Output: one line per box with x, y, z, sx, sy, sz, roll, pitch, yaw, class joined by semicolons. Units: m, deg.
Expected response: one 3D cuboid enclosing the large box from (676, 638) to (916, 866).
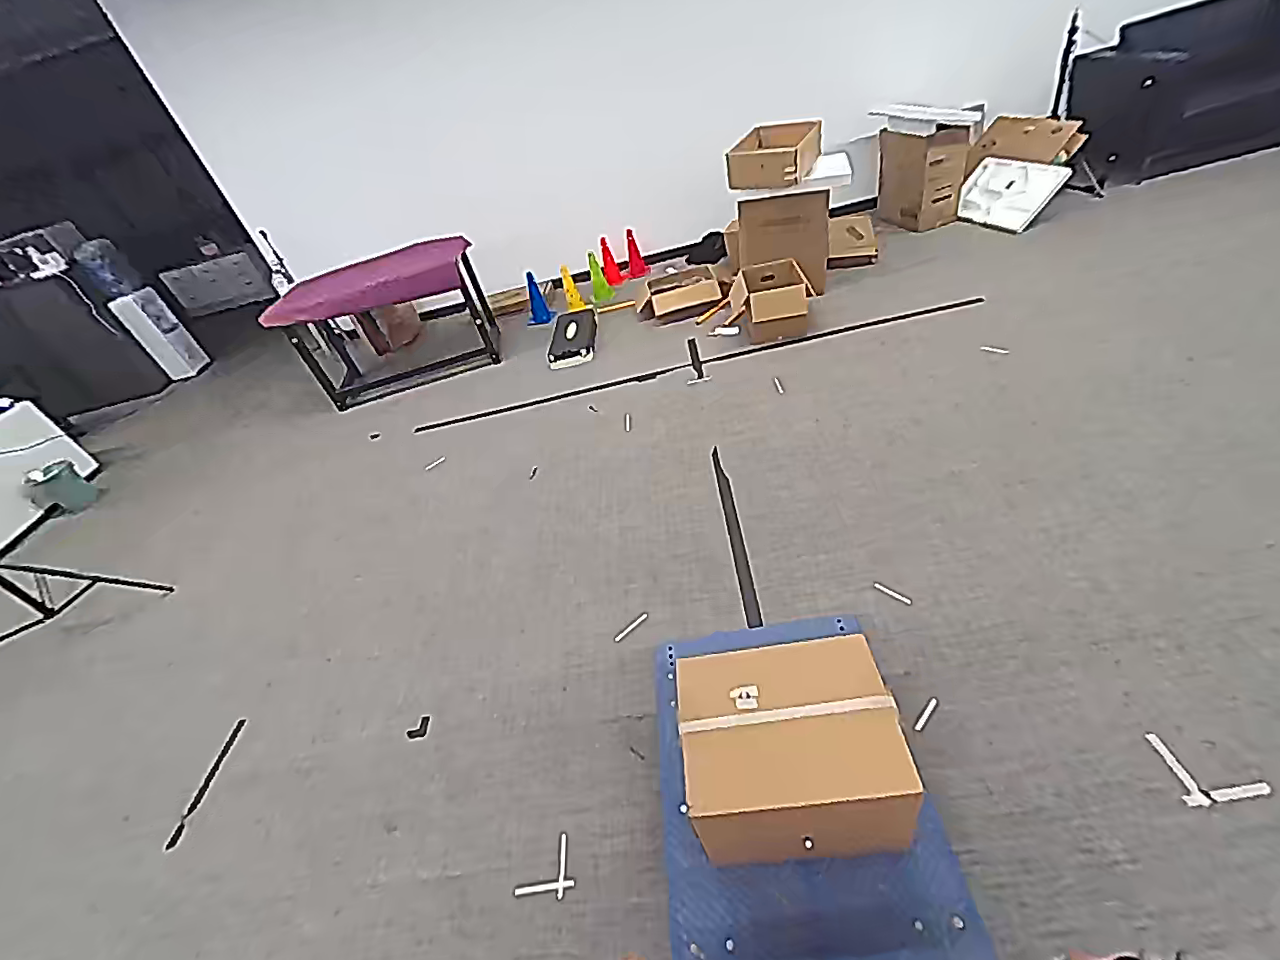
0.314;0.584;1.155;0.408;0.320;0.320;-12;38;8;large box
